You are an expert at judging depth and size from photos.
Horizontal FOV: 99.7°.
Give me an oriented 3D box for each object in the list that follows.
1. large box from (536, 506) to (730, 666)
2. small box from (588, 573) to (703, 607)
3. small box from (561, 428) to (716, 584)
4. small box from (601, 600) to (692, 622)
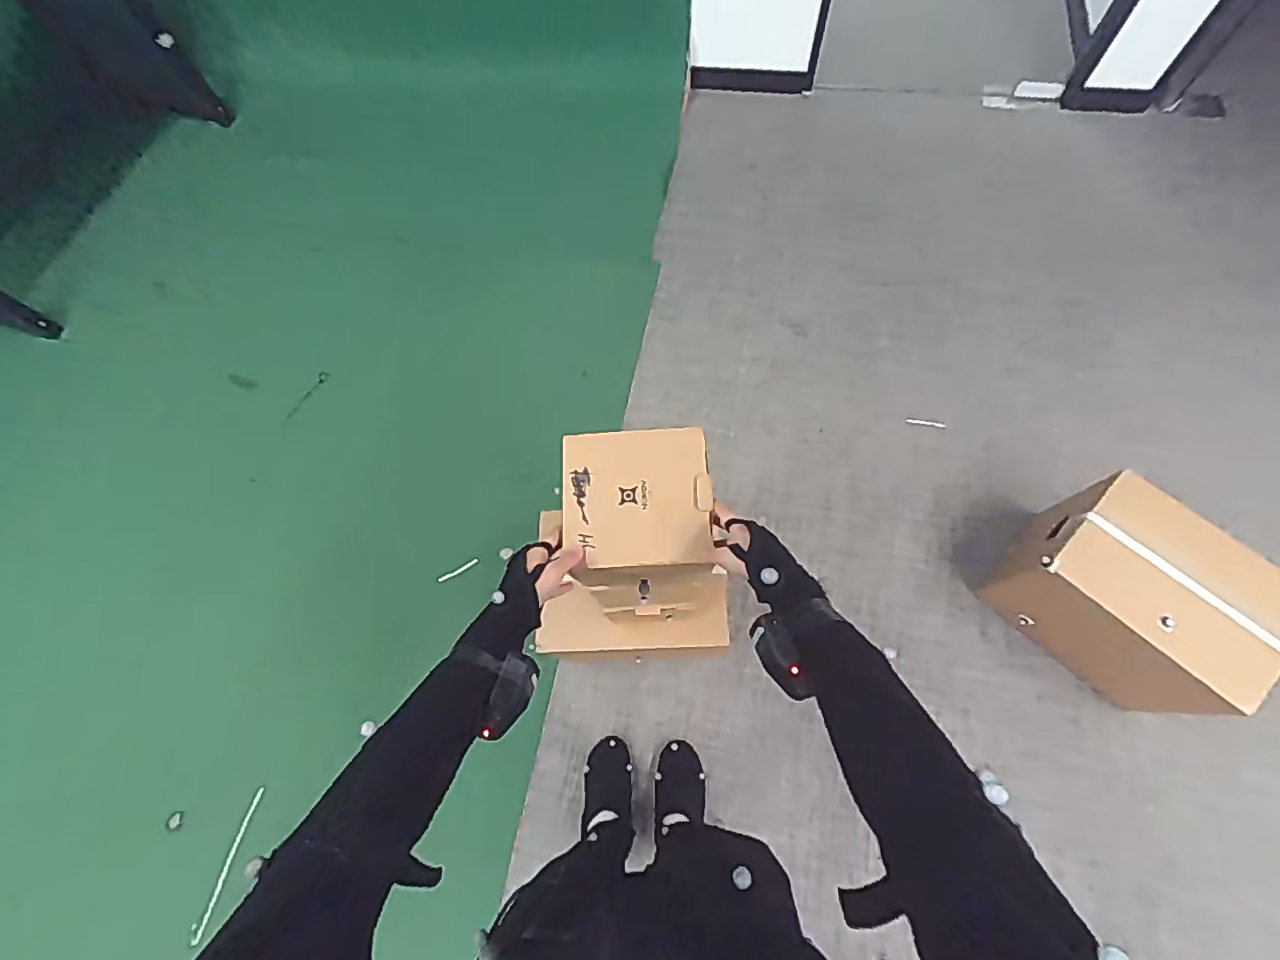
[{"bbox_3d":[-0.009,0.267,1.294,0.408,0.320,0.320,-4,66,4],"label":"large box"},{"bbox_3d":[0.009,0.117,0.911,0.179,0.176,0.168,-4,67,3],"label":"small box"},{"bbox_3d":[-0.001,0.042,0.706,0.179,0.176,0.168,-3,71,2],"label":"small box"},{"bbox_3d":[0.017,0.182,1.062,0.168,0.176,0.179,-3,67,3],"label":"small box"}]
